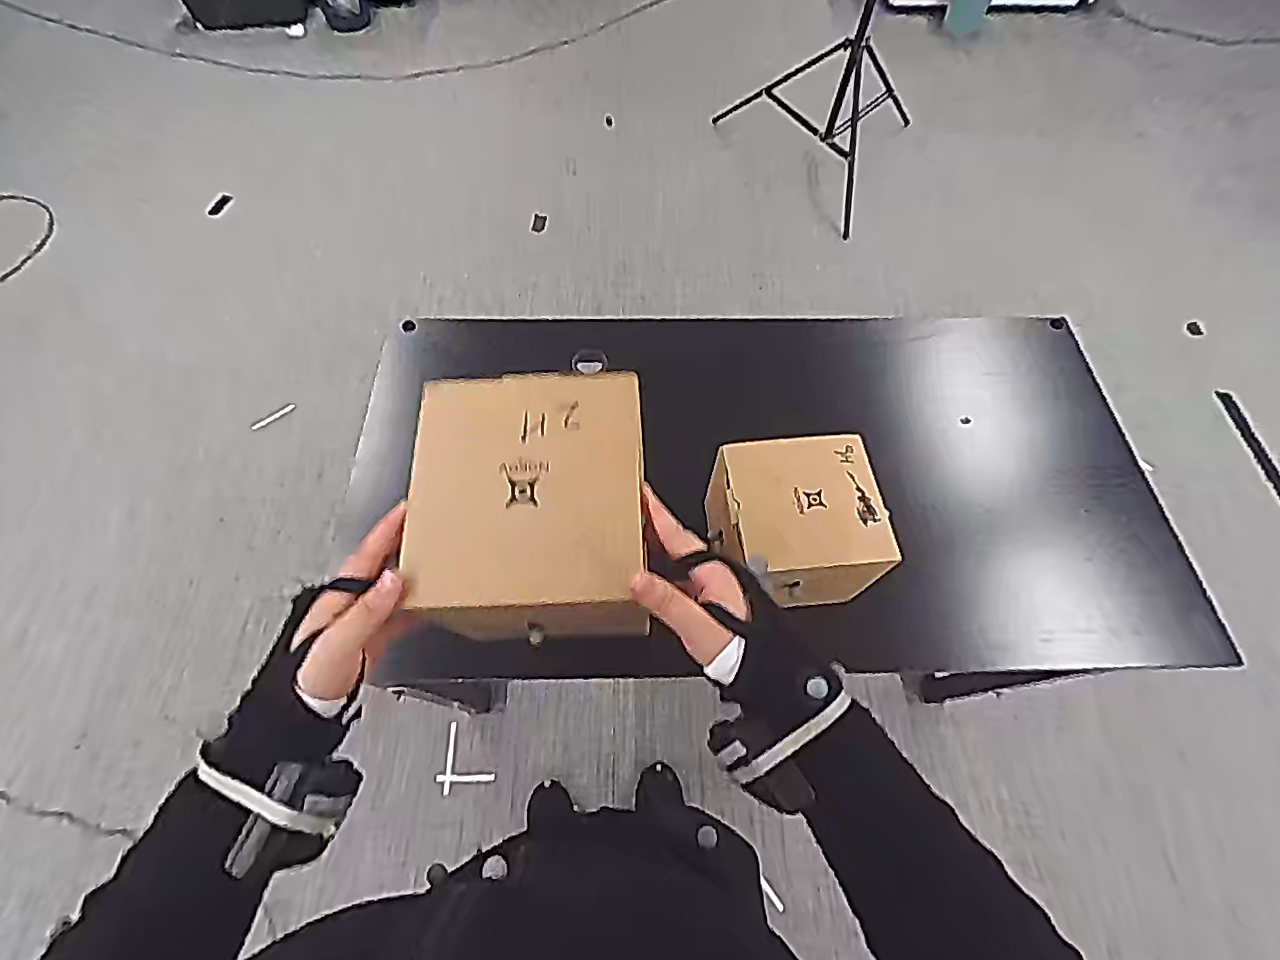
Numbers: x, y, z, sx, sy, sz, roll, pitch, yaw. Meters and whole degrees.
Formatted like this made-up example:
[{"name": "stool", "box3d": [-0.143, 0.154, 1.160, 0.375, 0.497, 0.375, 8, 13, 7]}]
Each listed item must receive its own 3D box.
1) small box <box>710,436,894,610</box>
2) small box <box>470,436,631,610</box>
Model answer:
[{"name": "small box", "box3d": [0.189, 0.063, 0.698, 0.179, 0.176, 0.168, -5, 62, -2]}, {"name": "small box", "box3d": [-0.105, 0.061, 0.694, 0.179, 0.176, 0.168, -5, 62, -3]}]
